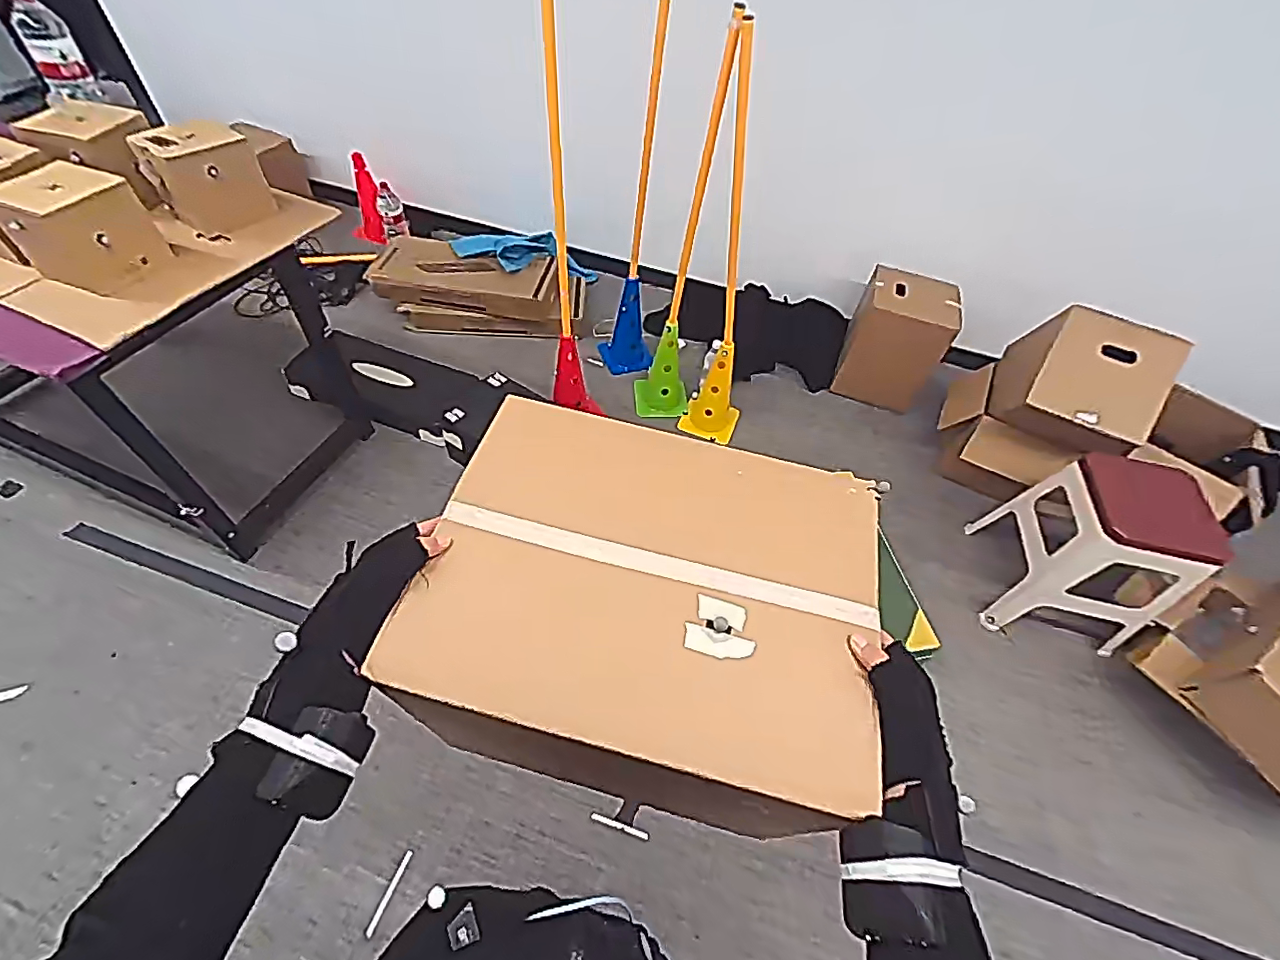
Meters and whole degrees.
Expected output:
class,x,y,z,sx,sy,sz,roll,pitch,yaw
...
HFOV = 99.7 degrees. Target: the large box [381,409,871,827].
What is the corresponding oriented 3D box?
class,x,y,z,sx,sy,sz,roll,pitch,yaw
large box,0.002,0.168,0.625,0.408,0.320,0.320,14,56,4
